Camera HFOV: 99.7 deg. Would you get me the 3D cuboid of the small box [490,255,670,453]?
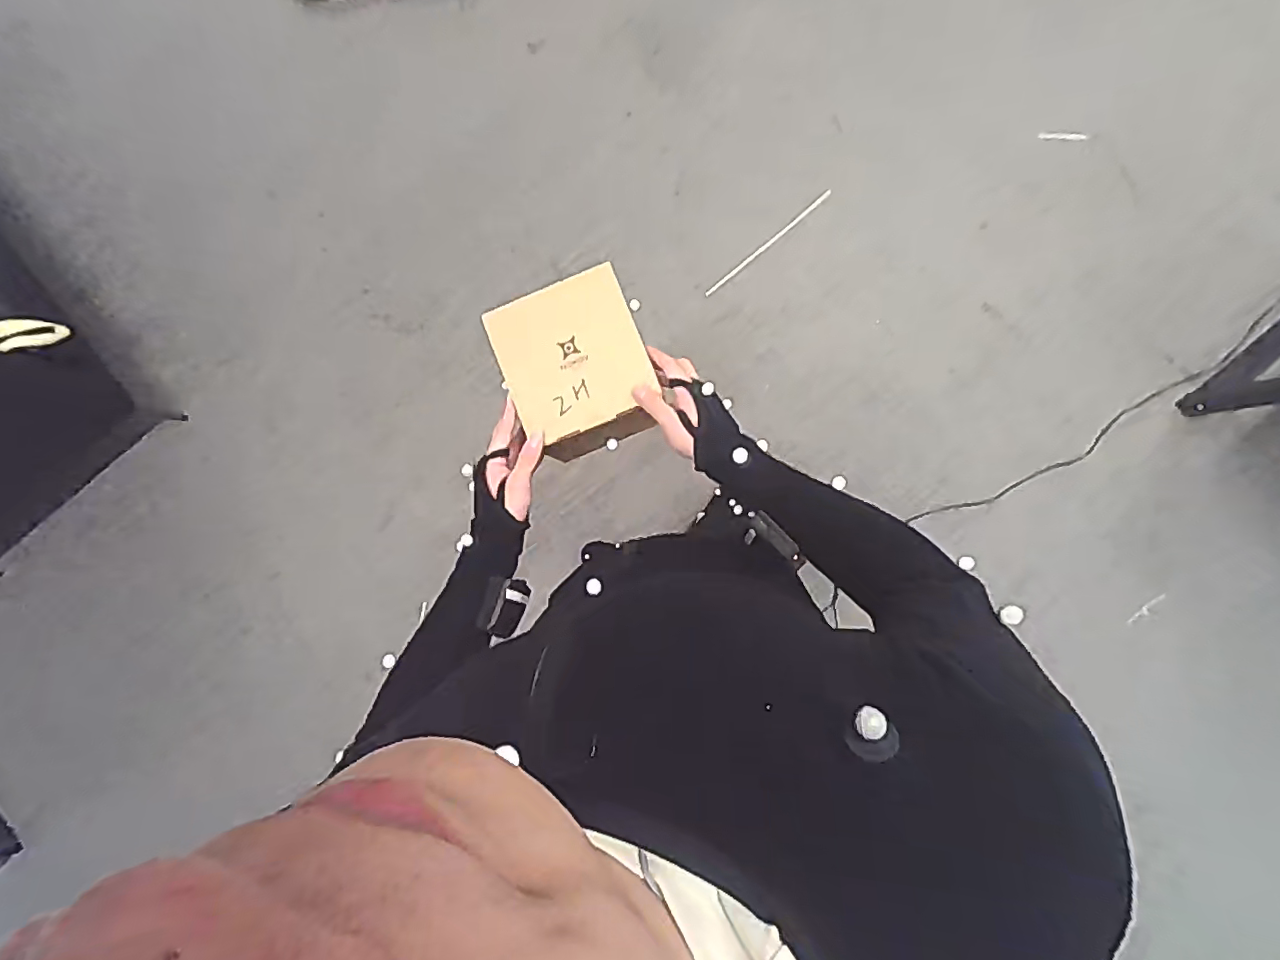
[{"bbox_3d":[-0.067,-0.148,0.700,0.168,0.176,0.179,-21,85,4],"label":"small box"}]
